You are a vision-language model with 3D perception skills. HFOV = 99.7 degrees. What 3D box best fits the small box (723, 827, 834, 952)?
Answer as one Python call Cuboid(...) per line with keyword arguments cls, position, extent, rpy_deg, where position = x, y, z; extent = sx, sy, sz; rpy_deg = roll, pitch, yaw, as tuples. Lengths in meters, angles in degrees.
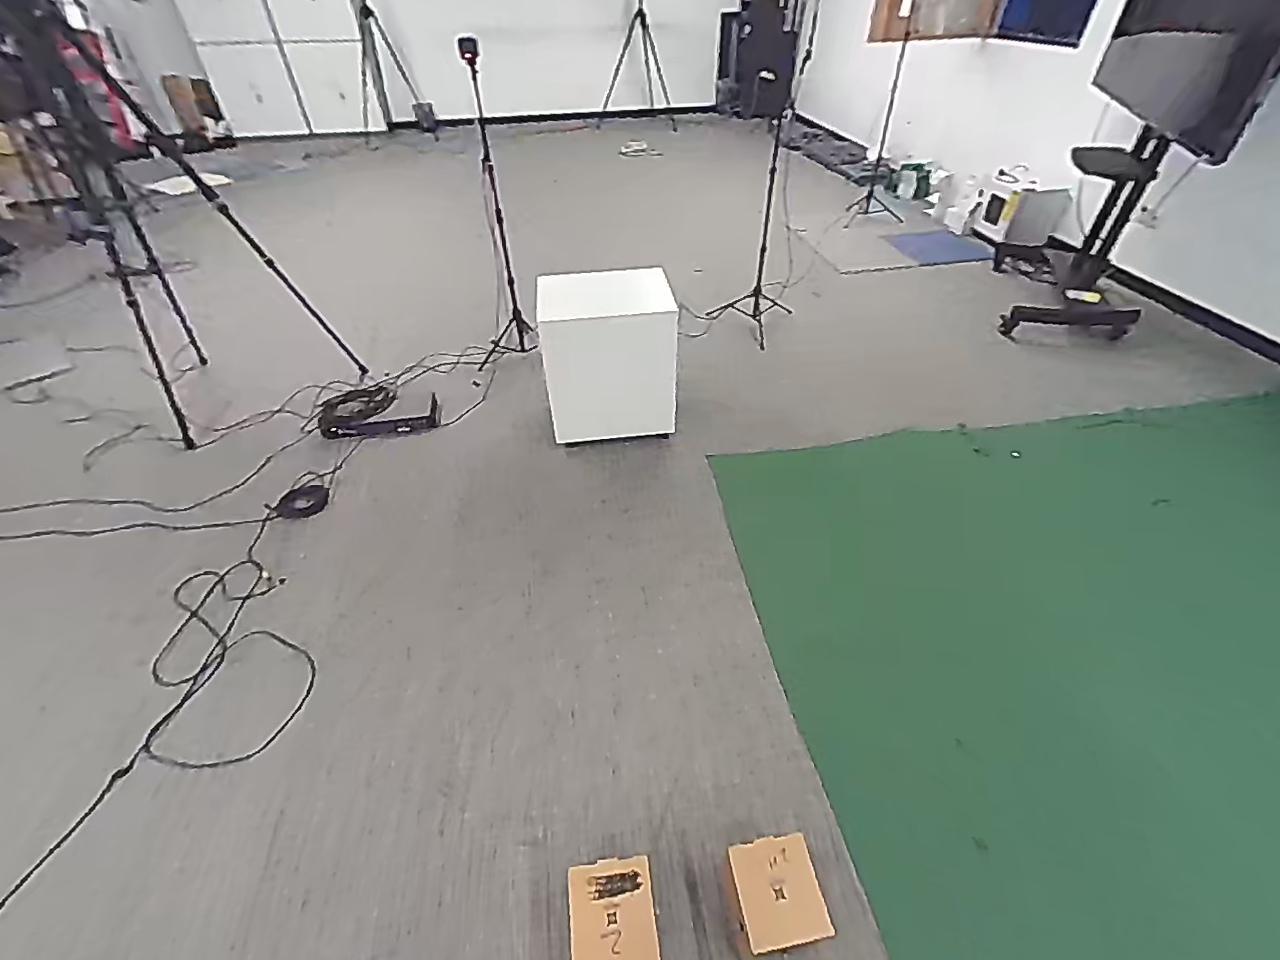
Cuboid(cls="small box", position=(0.278, 0.859, 1.129), extent=(0.168, 0.176, 0.179), rpy_deg=(-7, 44, -7))
